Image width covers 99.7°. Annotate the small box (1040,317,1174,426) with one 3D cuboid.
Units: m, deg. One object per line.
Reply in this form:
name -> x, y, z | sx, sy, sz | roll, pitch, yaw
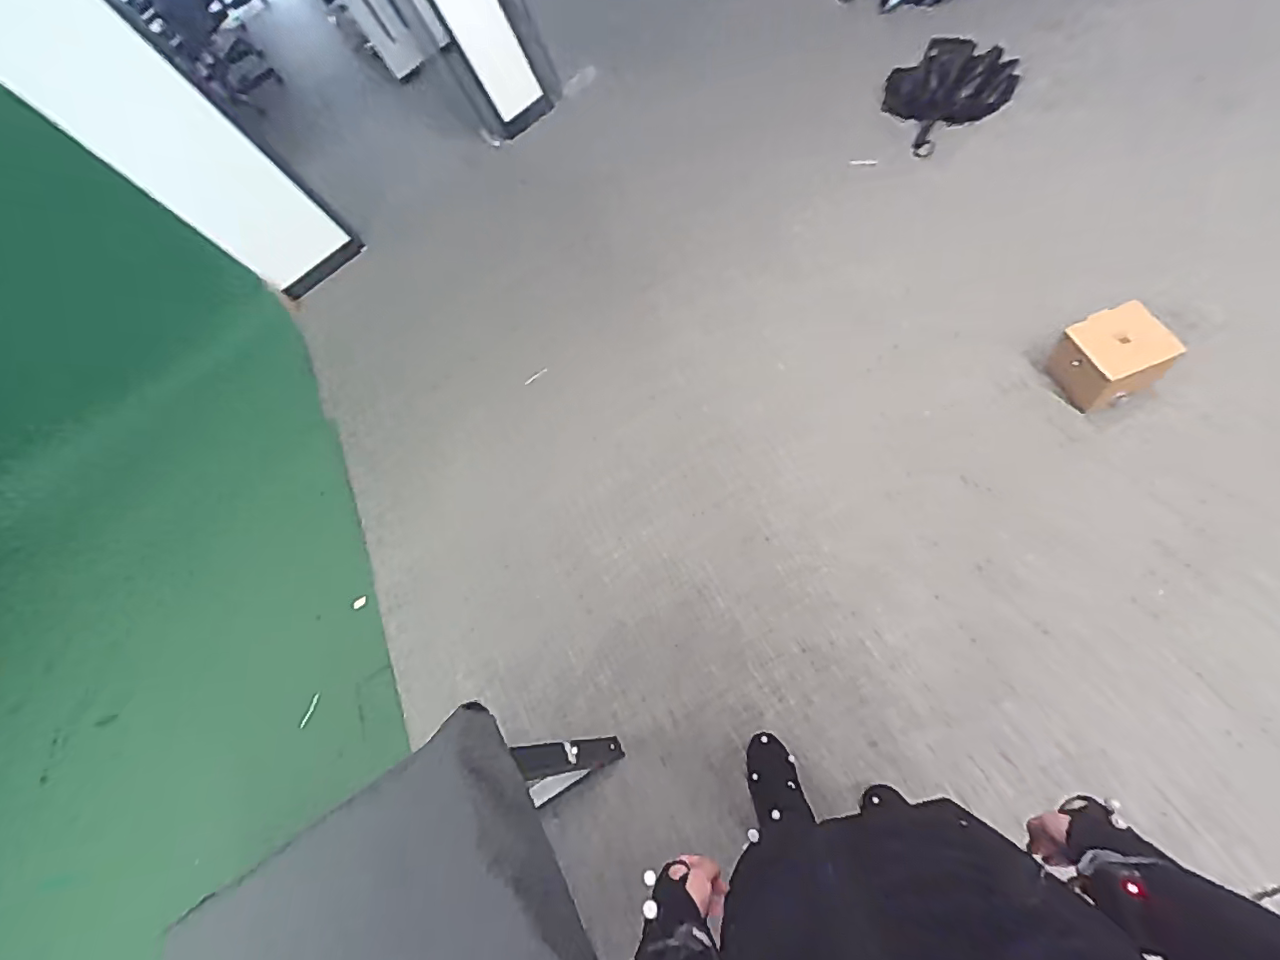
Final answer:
small box -> 1.164, -0.268, 1.369 | 0.168, 0.176, 0.179 | -24, 62, 10
